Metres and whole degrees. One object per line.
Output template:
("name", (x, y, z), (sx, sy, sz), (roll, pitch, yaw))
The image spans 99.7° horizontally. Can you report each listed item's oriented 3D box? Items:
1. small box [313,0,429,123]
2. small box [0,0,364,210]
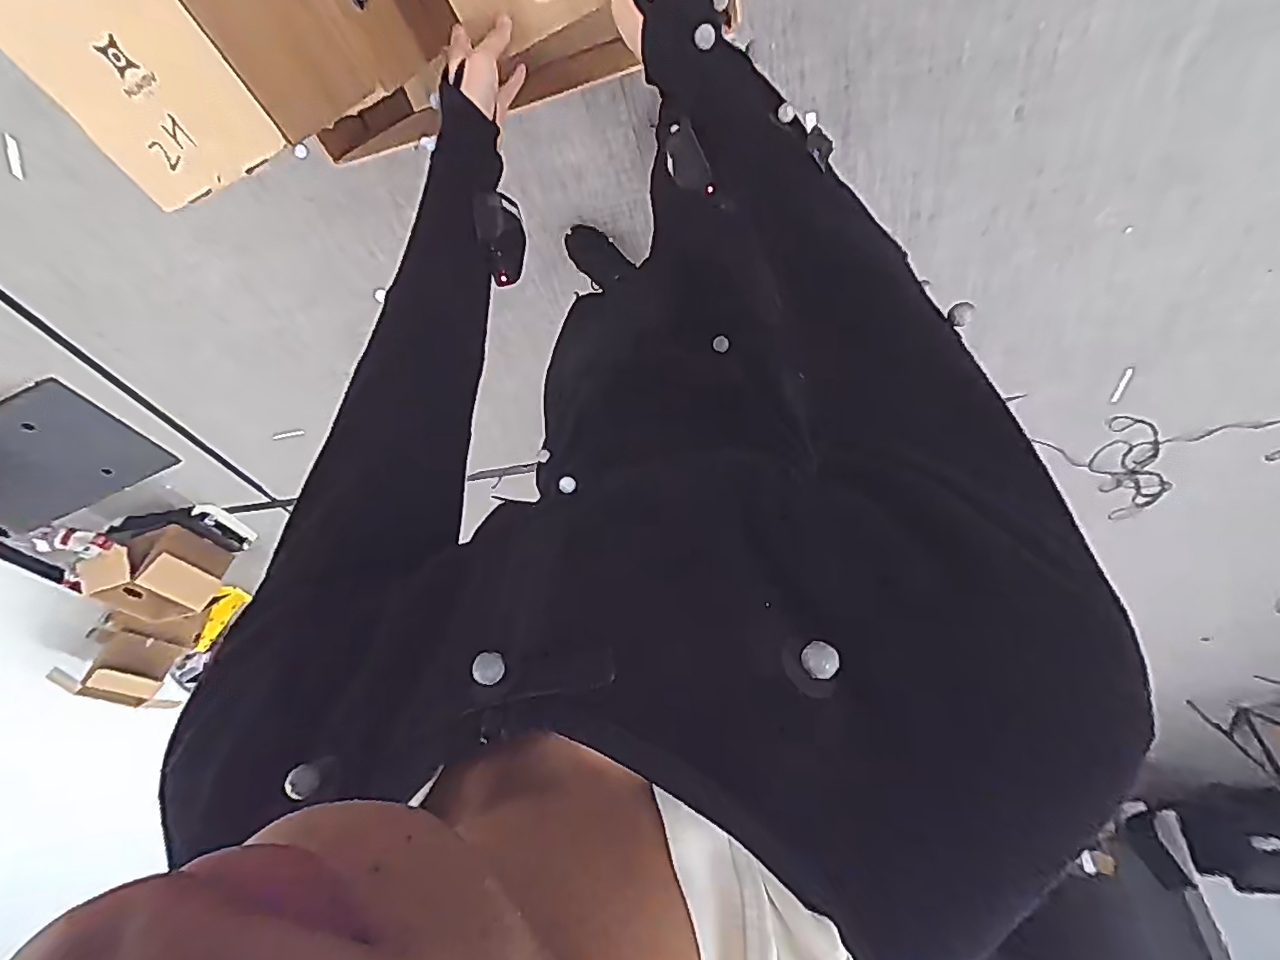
("small box", (-0.358, -0.500, 0.571), (0.168, 0.176, 0.179), (-10, 137, 18))
("small box", (-0.386, -0.376, 0.465), (0.168, 0.176, 0.179), (-11, 137, 20))
